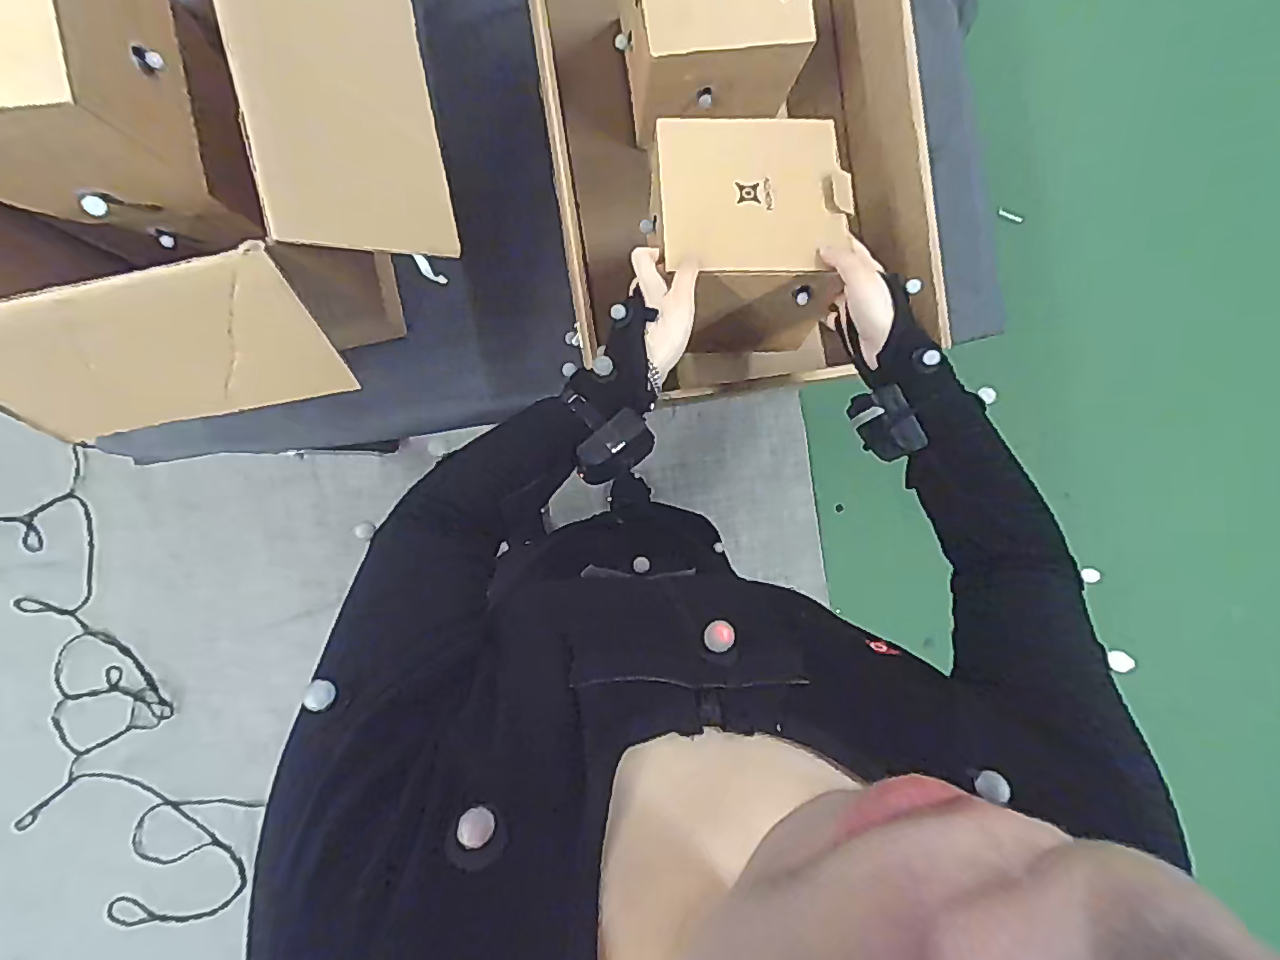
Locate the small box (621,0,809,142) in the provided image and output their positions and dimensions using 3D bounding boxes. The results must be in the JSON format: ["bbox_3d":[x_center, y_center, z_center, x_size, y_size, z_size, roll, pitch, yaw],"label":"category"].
[{"bbox_3d":[0.072,-0.518,0.620,0.179,0.176,0.168,-9,95,-3],"label":"small box"}]

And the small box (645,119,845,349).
[{"bbox_3d":[0.097,-0.253,0.589,0.179,0.176,0.168,-2,78,-4],"label":"small box"}]

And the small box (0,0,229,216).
[{"bbox_3d":[-0.485,-0.344,0.443,0.168,0.176,0.179,-7,95,-5],"label":"small box"}]
